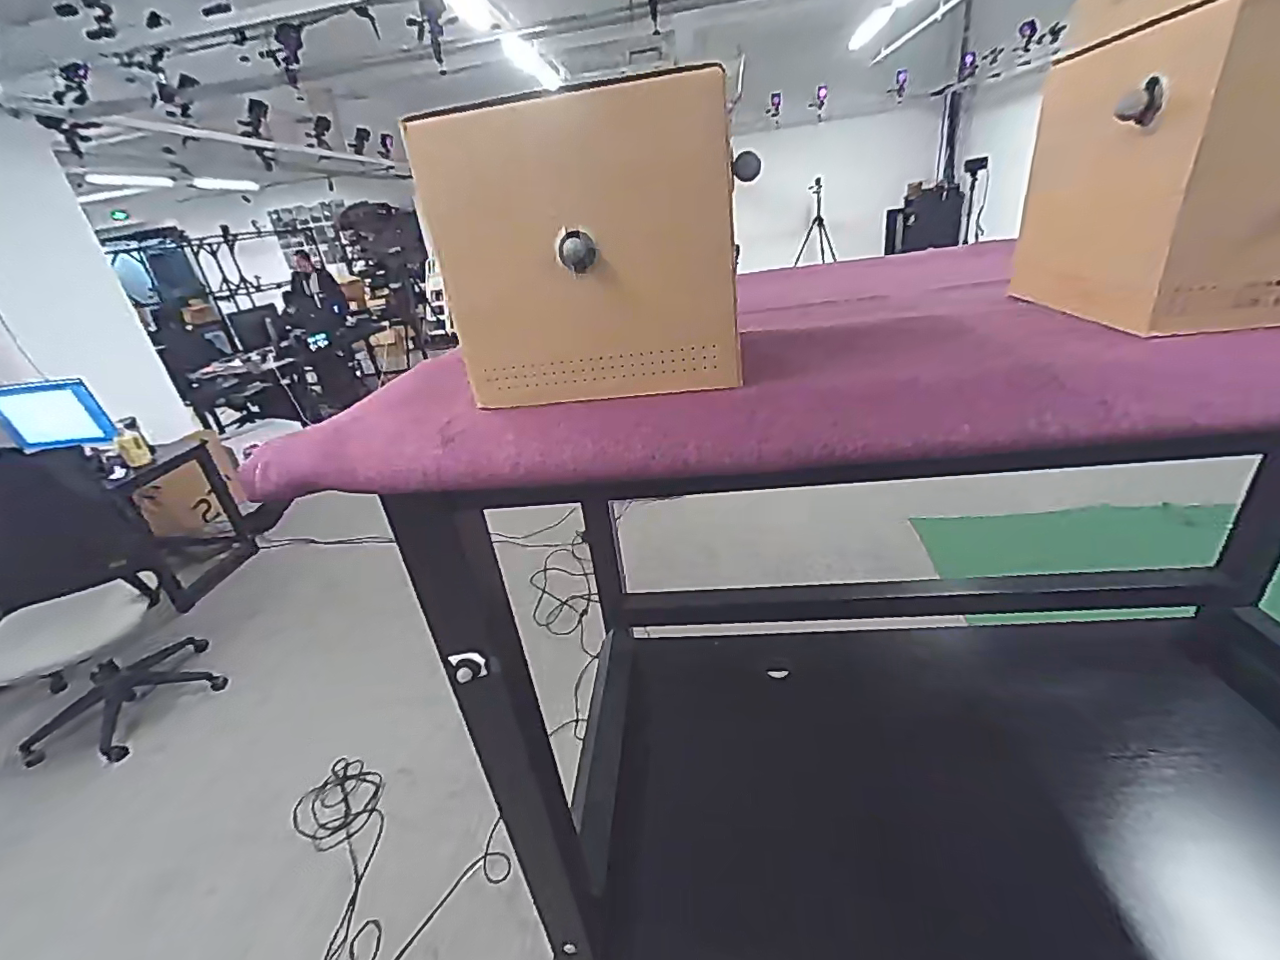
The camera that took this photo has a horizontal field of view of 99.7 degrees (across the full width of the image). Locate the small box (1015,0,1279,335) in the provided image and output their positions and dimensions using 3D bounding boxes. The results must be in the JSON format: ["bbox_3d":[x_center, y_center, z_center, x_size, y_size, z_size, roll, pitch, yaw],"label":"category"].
[{"bbox_3d":[0.382,-0.194,0.350,0.168,0.176,0.179,-2,27,9],"label":"small box"}]
